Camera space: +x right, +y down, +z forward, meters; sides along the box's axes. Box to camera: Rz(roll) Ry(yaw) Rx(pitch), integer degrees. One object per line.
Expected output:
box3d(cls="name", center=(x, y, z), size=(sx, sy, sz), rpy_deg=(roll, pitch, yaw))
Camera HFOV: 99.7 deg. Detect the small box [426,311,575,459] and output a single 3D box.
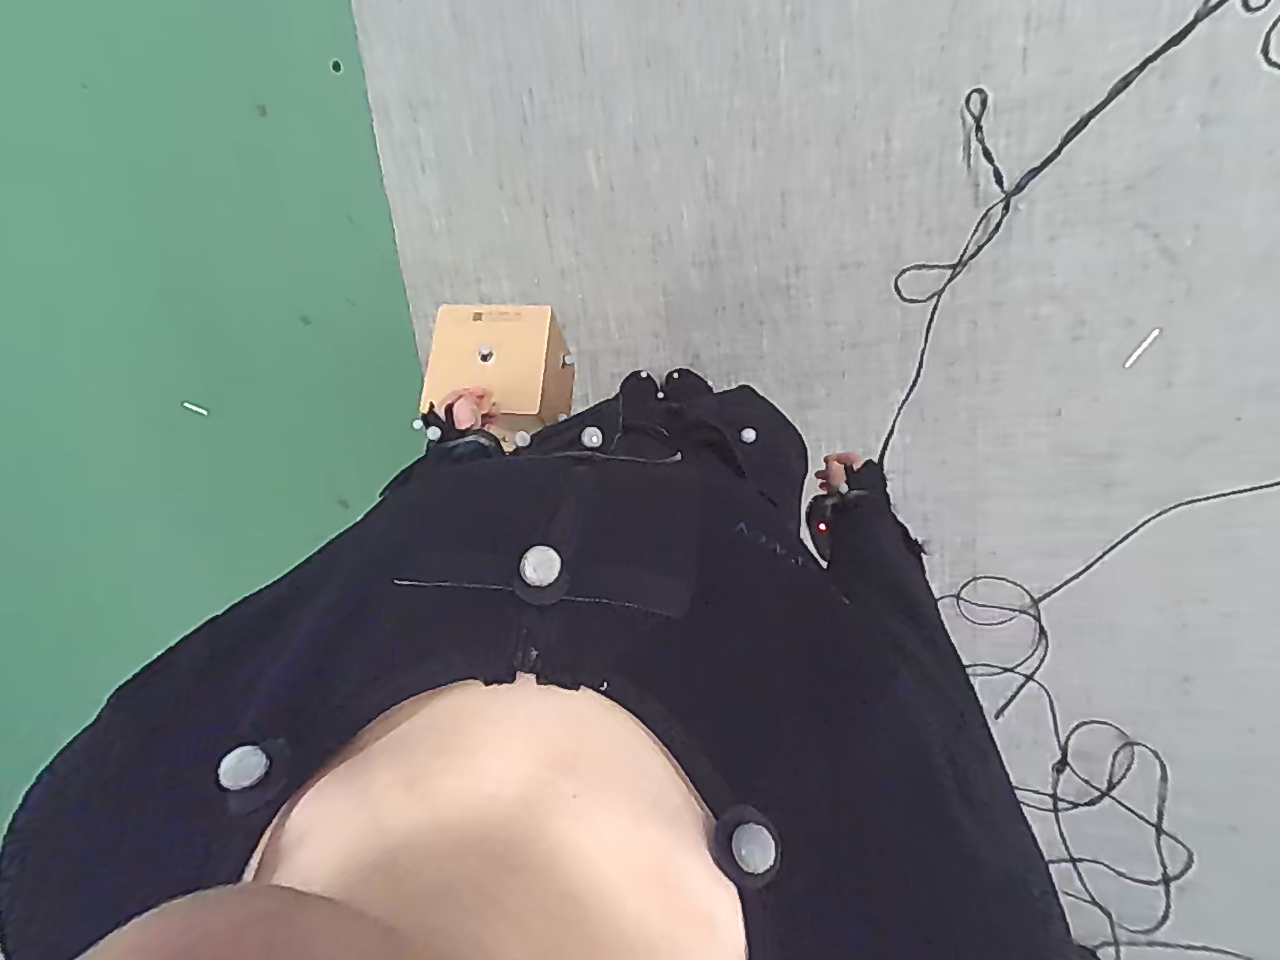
box3d(cls="small box", center=(-0.198, -0.138, 0.814), size=(0.168, 0.179, 0.176), rpy_deg=(1, 73, 5))
